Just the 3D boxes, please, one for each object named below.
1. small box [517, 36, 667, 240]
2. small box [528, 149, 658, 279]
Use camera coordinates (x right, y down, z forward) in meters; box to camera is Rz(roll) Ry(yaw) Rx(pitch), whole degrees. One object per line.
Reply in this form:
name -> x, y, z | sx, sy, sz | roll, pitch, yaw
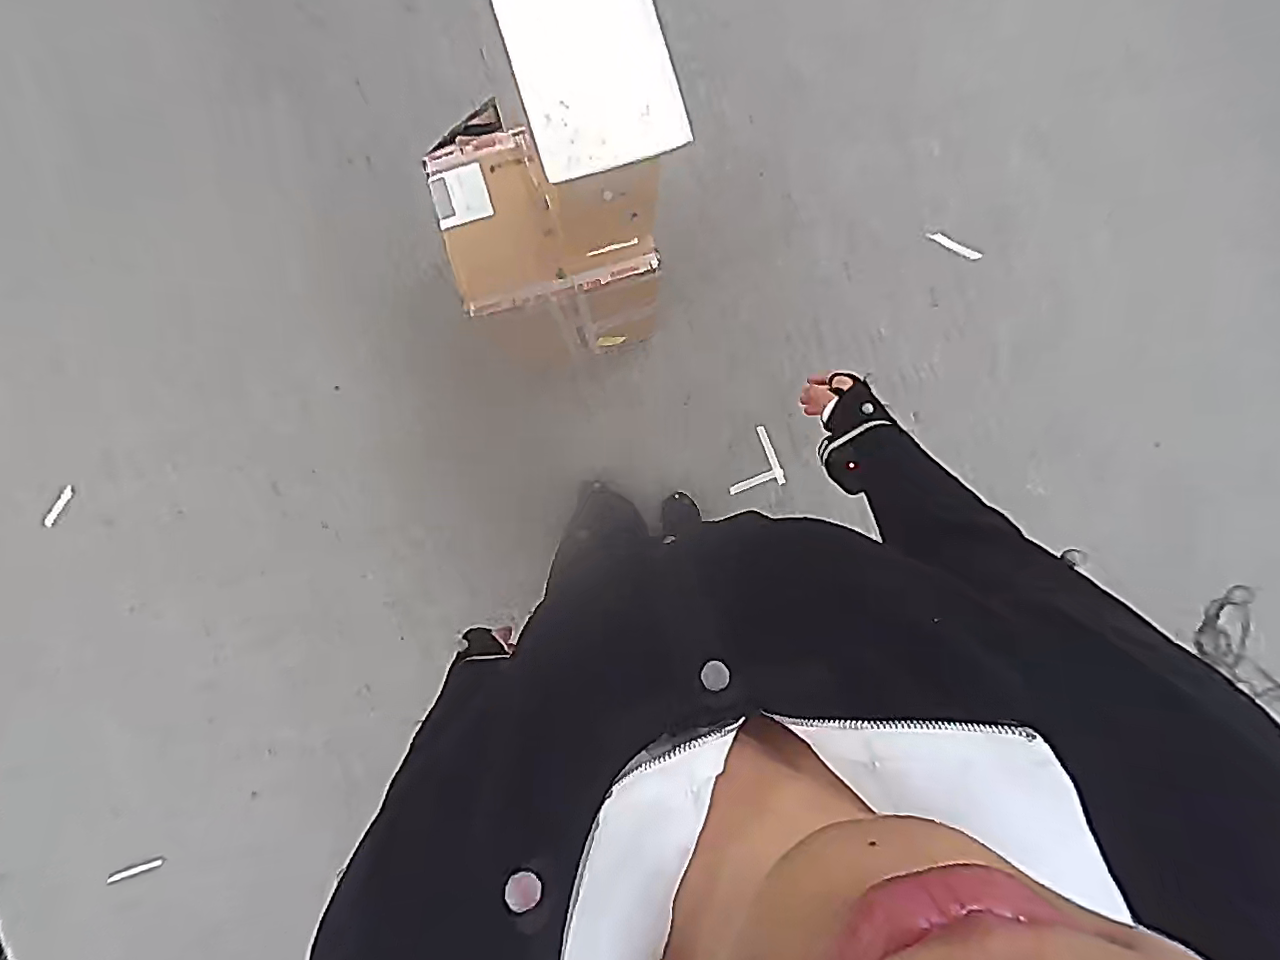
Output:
small box -> -0.070, -0.493, 0.803 | 0.168, 0.176, 0.179 | -17, 91, -3
small box -> -0.081, -0.489, 0.967 | 0.179, 0.176, 0.168 | -20, 90, -2
